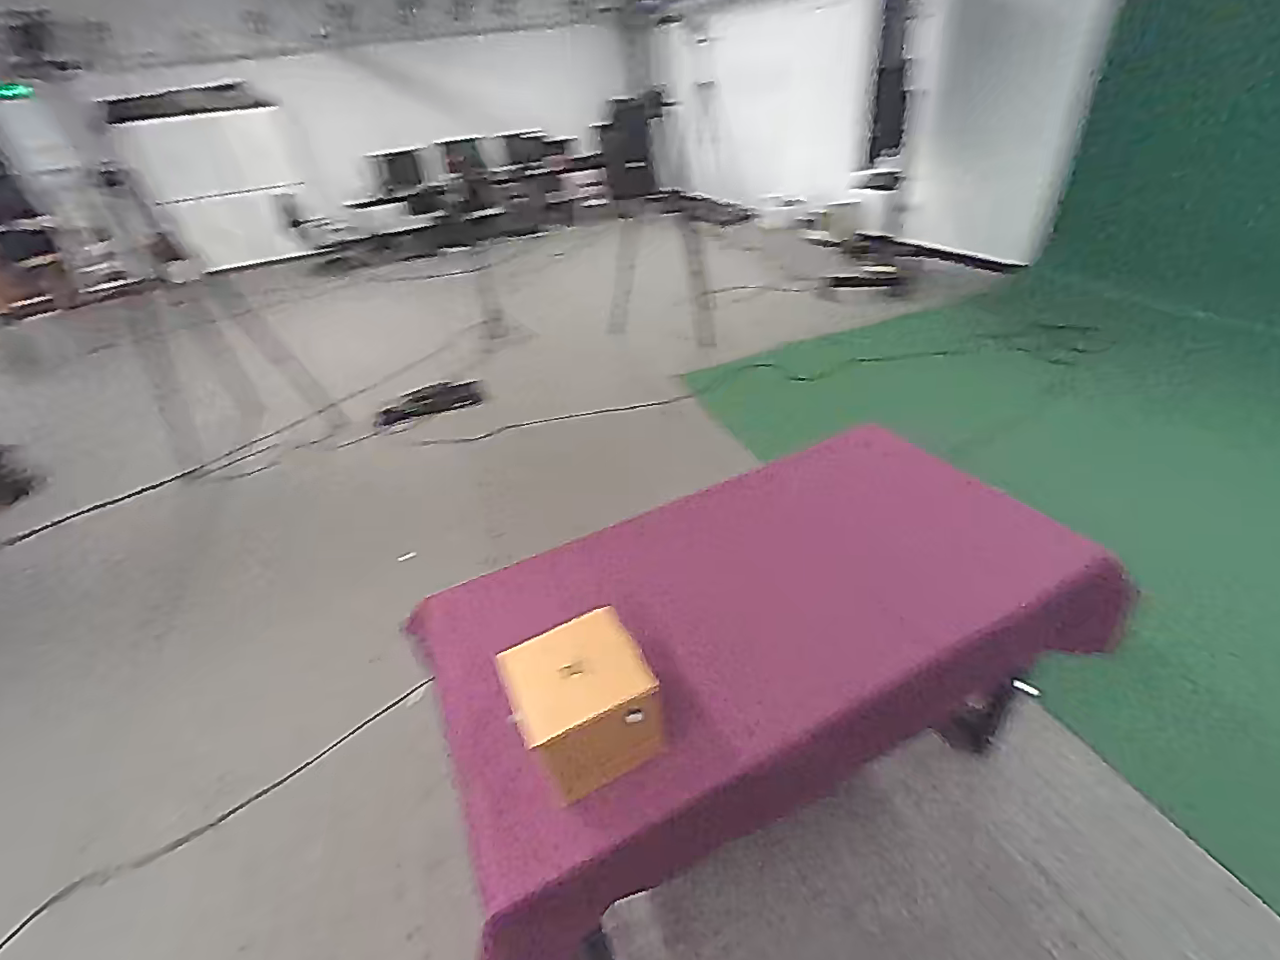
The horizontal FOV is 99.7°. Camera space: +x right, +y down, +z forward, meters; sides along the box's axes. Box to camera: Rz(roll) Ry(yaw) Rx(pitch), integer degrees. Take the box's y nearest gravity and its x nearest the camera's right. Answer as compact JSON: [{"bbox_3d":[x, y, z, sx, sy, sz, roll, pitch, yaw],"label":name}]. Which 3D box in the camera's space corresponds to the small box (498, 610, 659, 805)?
[{"bbox_3d":[-0.088,0.335,0.802,0.179,0.176,0.168,-22,37,-19],"label":"small box"}]
